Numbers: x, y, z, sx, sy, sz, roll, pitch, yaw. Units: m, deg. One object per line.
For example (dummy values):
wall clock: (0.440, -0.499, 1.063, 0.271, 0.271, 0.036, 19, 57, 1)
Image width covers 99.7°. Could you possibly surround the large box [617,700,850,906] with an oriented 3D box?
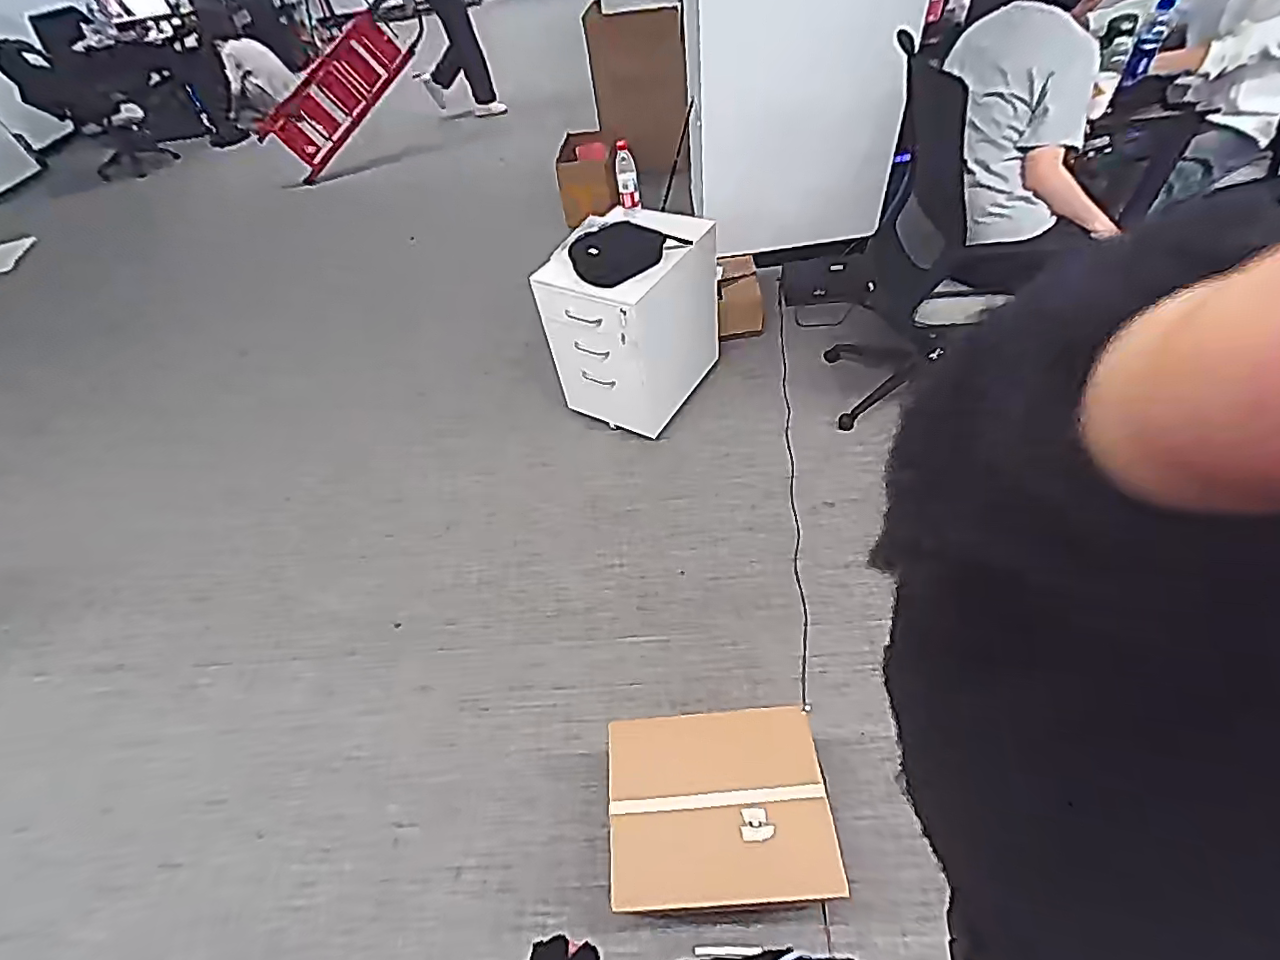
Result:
large box: (0.172, 0.684, 1.136, 0.408, 0.320, 0.320, -6, 51, 4)
